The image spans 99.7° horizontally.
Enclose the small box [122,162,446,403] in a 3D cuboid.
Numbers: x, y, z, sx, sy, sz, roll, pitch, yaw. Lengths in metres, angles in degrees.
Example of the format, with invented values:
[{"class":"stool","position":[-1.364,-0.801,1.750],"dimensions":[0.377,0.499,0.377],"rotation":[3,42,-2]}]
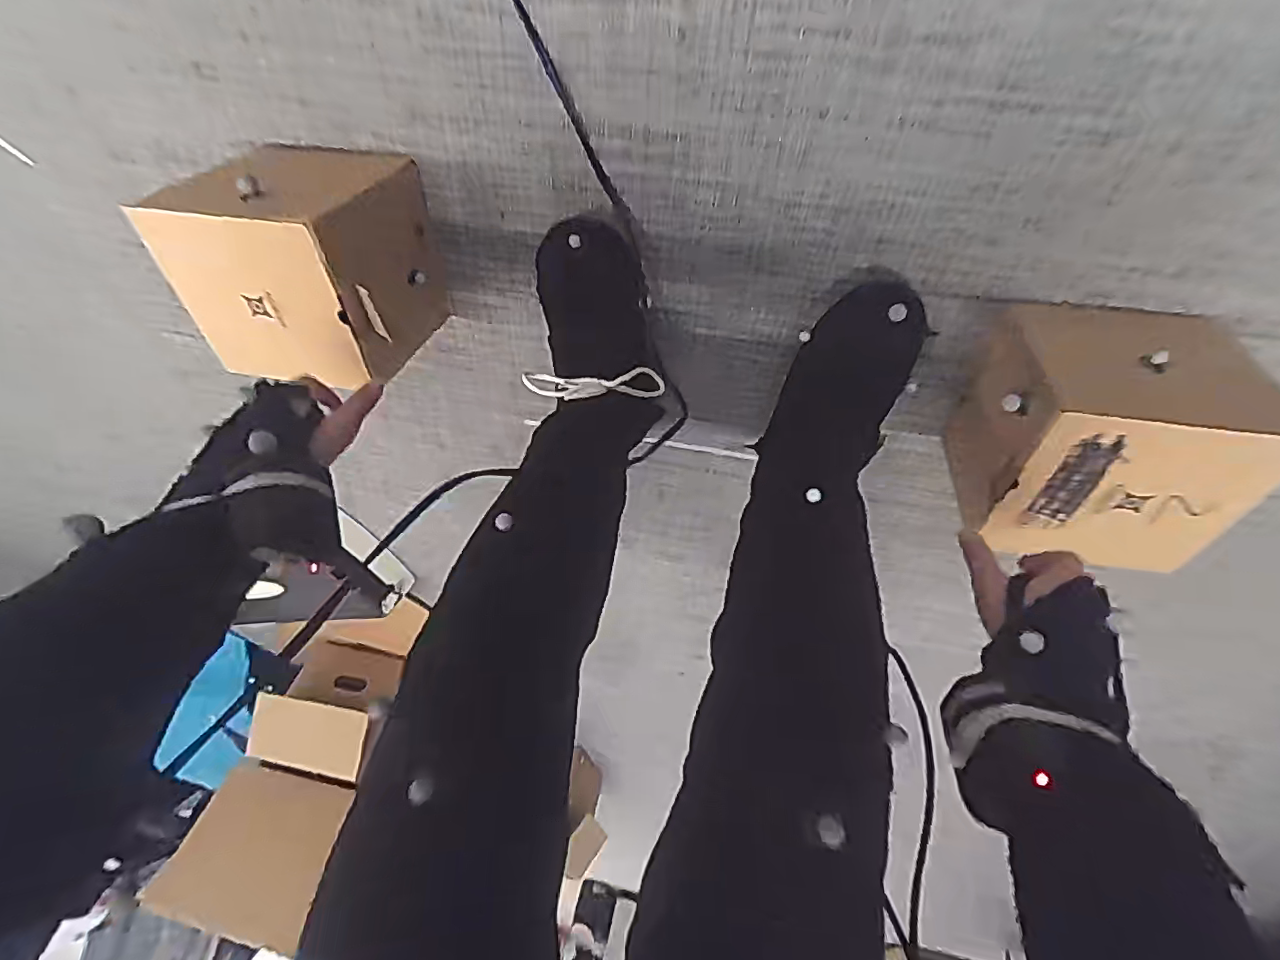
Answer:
[{"class":"small box","position":[-0.326,-0.202,0.541],"dimensions":[0.179,0.176,0.168],"rotation":[8,137,8]}]
